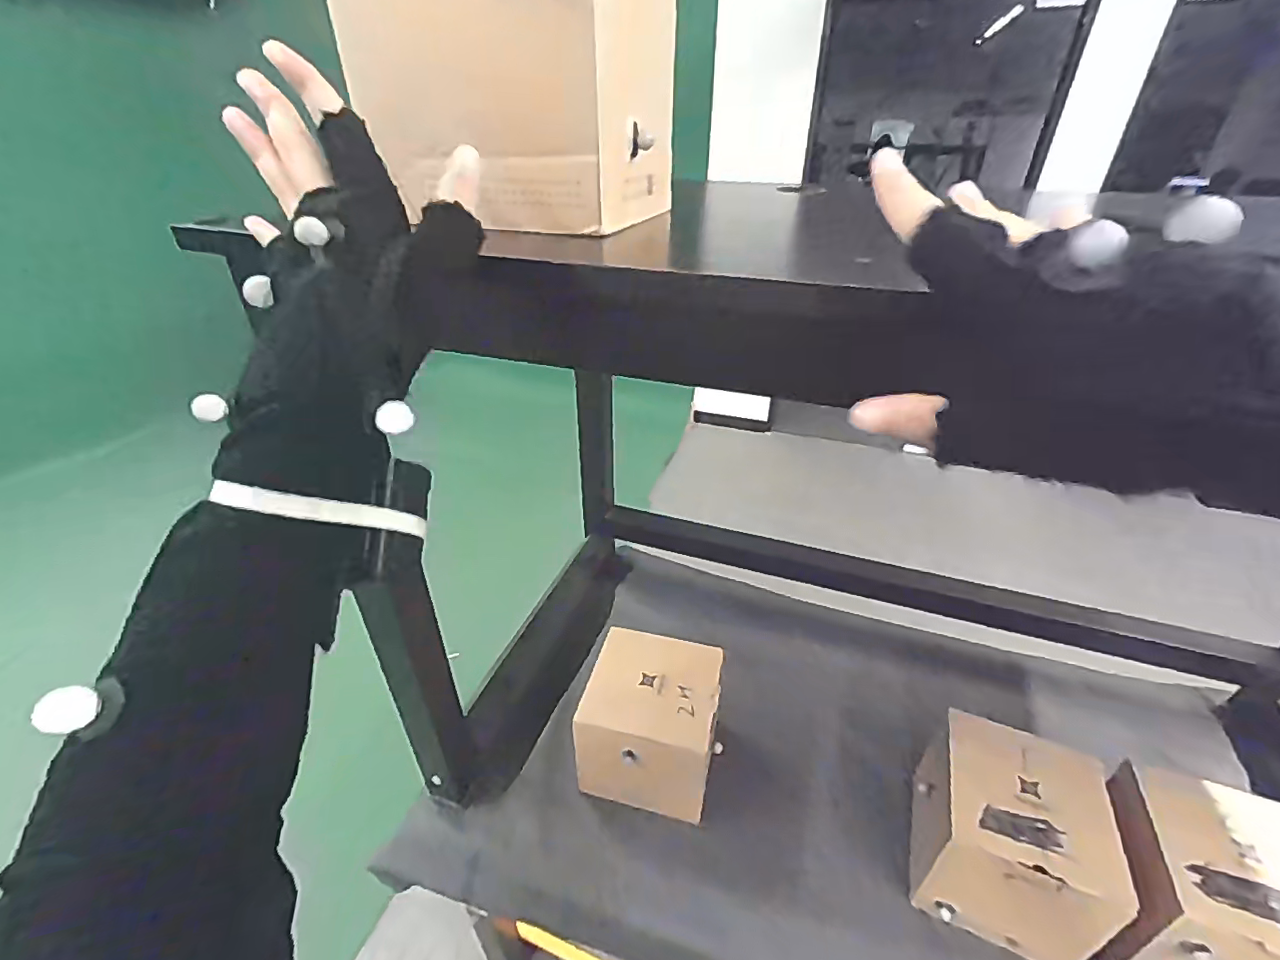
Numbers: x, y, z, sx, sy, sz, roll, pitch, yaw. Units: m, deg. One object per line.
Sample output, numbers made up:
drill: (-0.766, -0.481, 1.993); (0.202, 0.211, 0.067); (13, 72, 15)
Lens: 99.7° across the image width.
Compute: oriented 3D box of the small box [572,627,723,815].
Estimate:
small box: (0.015, 0.345, 0.778); (0.179, 0.176, 0.168); (9, 34, 13)
